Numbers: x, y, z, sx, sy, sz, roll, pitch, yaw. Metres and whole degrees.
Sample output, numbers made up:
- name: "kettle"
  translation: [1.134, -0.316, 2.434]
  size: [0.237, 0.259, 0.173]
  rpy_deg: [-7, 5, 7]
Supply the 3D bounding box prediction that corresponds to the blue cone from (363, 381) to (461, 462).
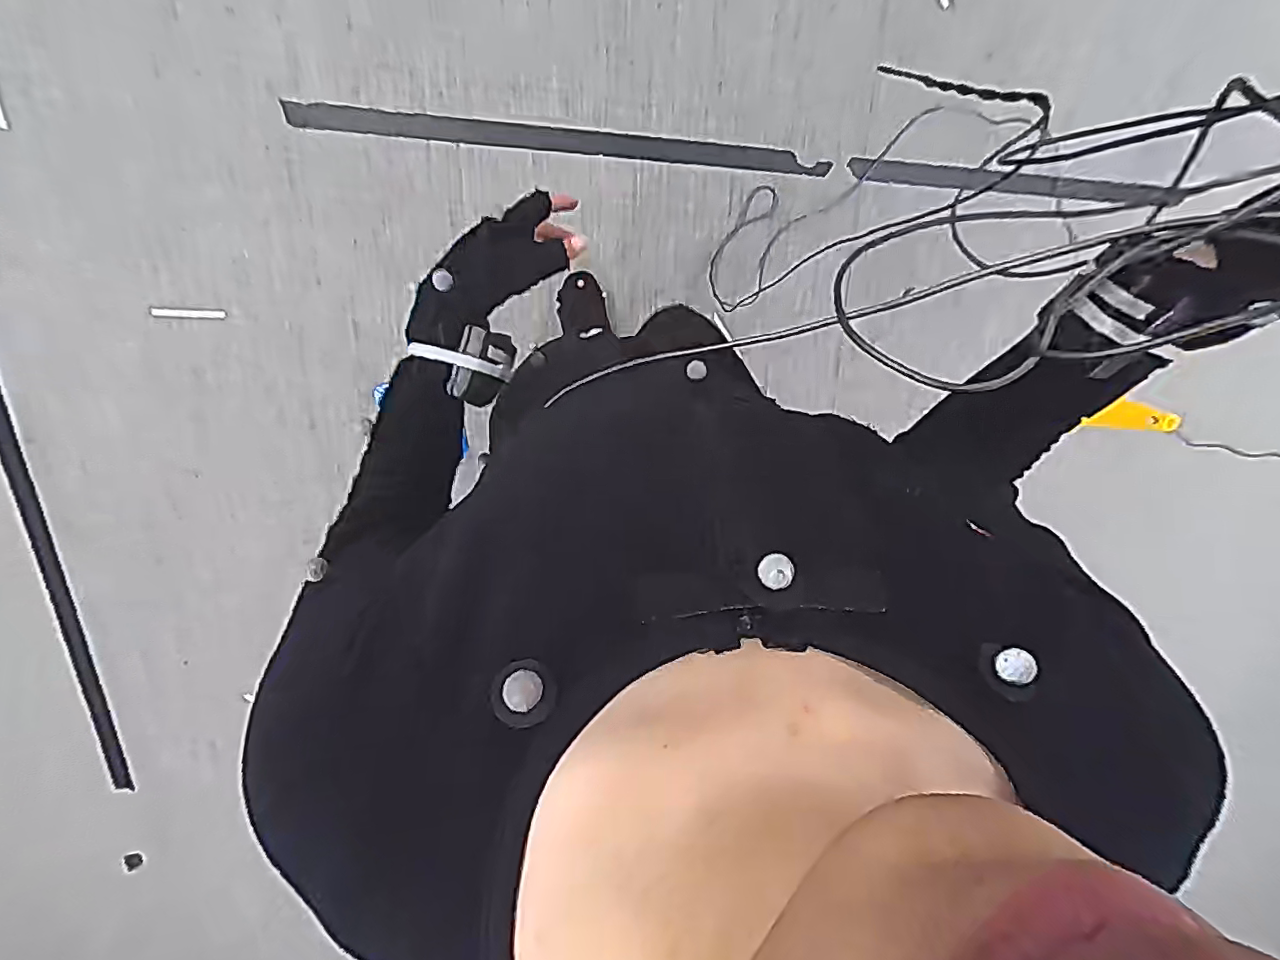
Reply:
- name: "blue cone"
  translation: [-0.533, -0.097, 1.203]
  size: [0.193, 0.380, 0.192]
  rpy_deg: [-6, 108, -6]
